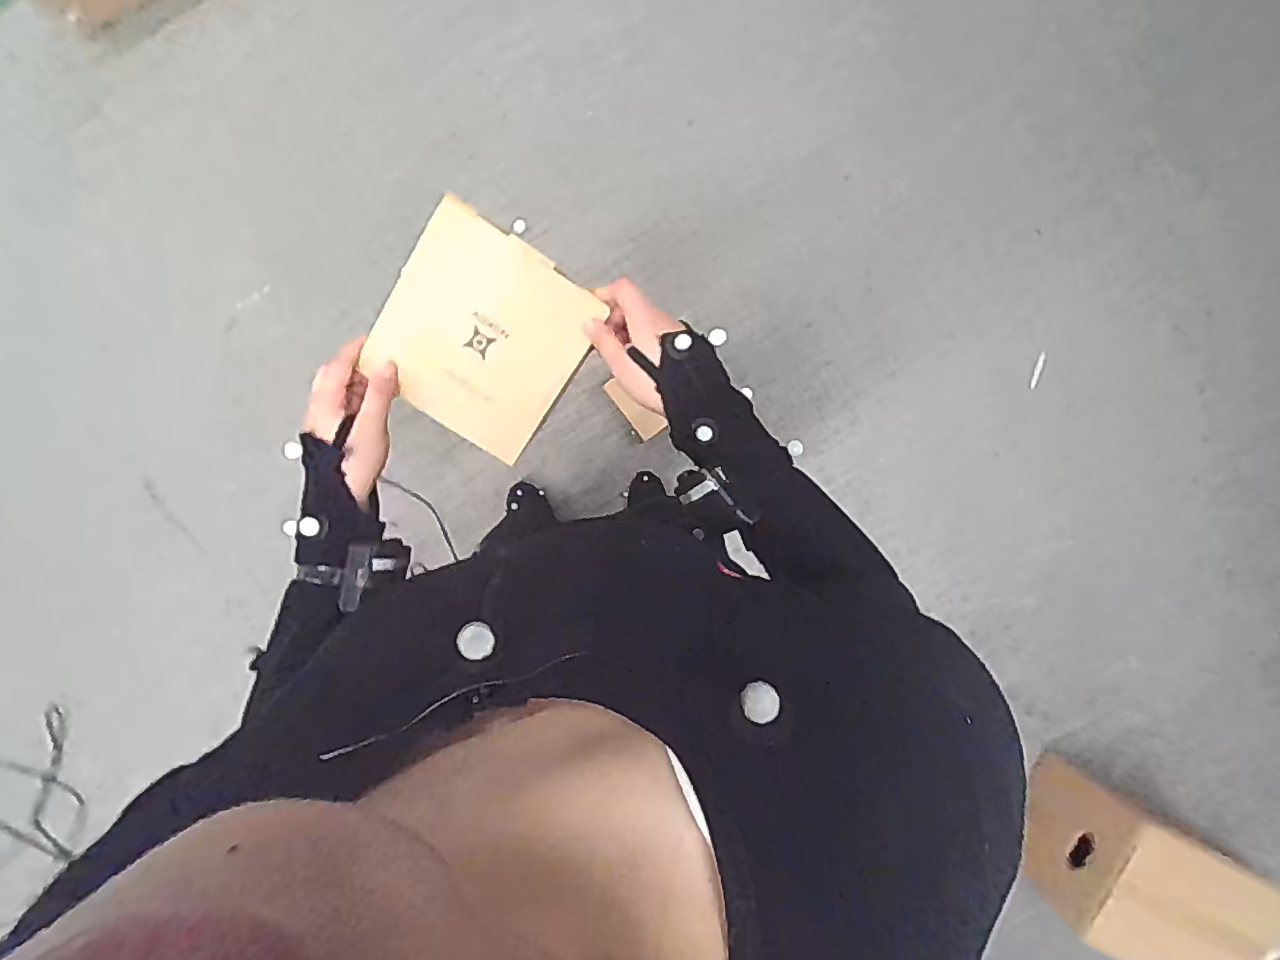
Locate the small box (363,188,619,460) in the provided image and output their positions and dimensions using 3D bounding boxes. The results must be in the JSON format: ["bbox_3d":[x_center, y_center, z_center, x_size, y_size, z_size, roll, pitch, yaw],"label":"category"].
[{"bbox_3d":[-0.136,-0.153,0.550,0.168,0.176,0.179,33,105,-11],"label":"small box"}]
